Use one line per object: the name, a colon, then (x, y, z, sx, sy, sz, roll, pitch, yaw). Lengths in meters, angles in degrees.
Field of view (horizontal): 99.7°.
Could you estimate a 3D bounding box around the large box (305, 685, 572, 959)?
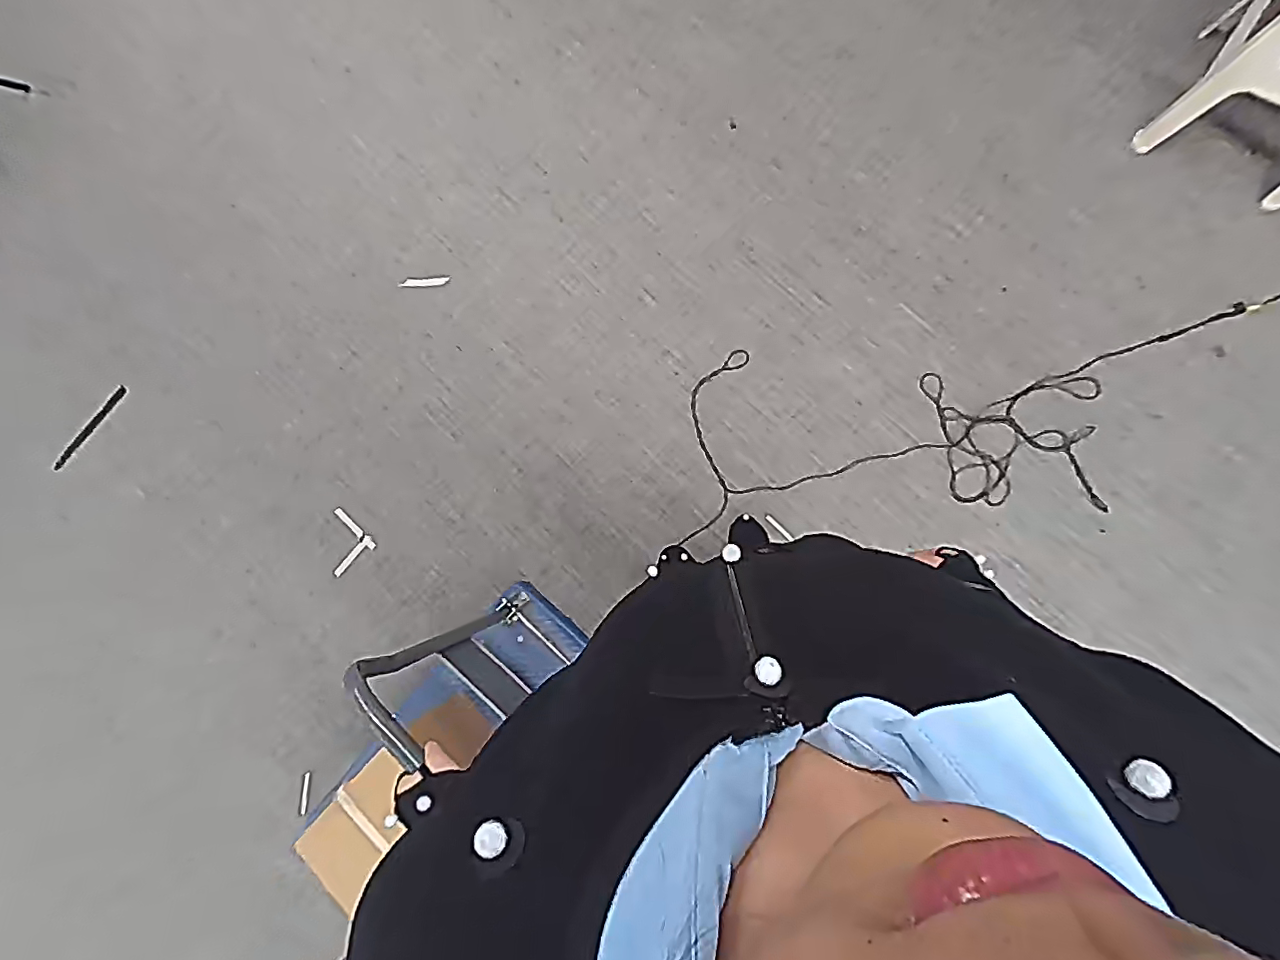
large box: (-0.427, 0.752, 1.224, 0.408, 0.320, 0.320, 43, 93, 8)
